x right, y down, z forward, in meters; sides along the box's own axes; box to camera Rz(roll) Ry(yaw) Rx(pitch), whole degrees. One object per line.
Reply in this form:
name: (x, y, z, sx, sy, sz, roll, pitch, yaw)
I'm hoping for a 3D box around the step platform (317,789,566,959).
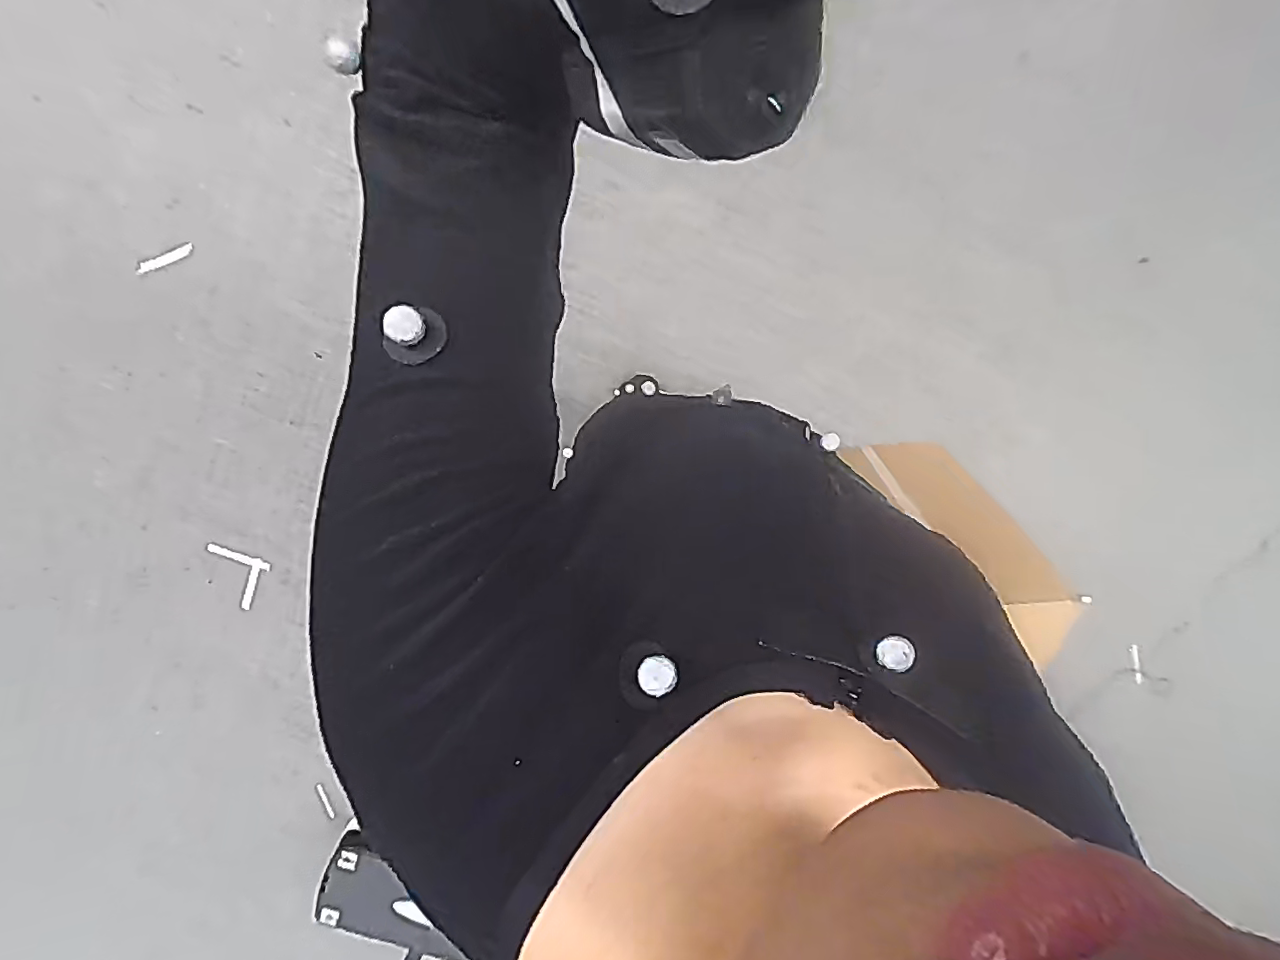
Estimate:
step platform: (-0.578, 1.194, 1.614, 0.684, 0.204, 0.286, 20, 100, -3)
